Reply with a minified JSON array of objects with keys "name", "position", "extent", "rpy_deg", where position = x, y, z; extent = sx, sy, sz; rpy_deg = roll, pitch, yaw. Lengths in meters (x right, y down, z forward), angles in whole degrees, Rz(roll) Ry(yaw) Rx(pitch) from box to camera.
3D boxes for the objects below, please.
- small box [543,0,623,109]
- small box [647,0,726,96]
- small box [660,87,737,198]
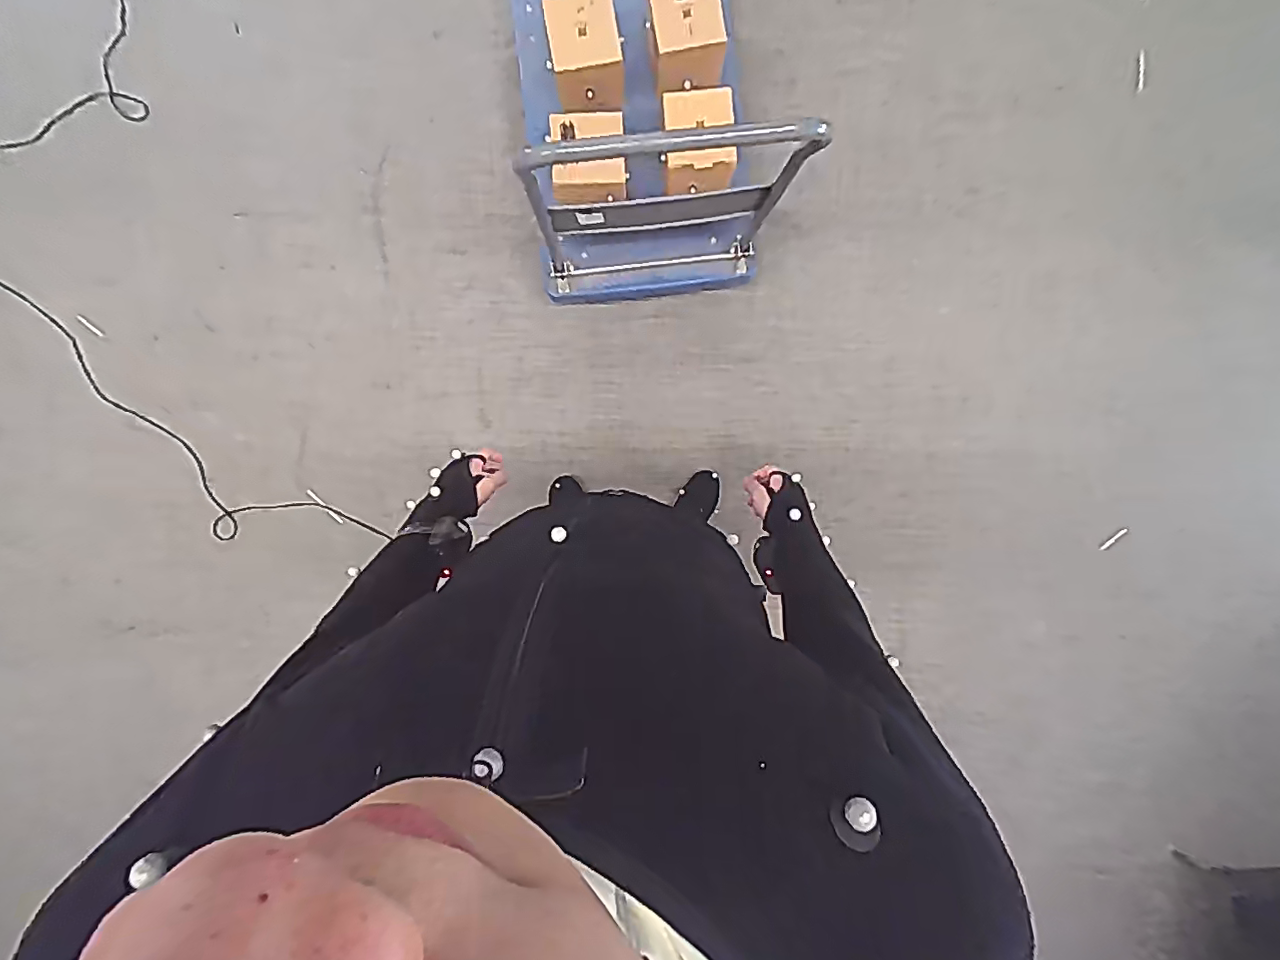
[{"name":"small box","position":[-0.137,-1.072,1.362],"extent":[0.168,0.176,0.179],"rpy_deg":[-10,92,-1]},{"name":"small box","position":[0.111,-1.119,1.362],"extent":[0.168,0.176,0.179],"rpy_deg":[-10,93,1]},{"name":"small box","position":[0.143,-0.851,1.373],"extent":[0.168,0.176,0.179],"rpy_deg":[-6,92,0]}]
